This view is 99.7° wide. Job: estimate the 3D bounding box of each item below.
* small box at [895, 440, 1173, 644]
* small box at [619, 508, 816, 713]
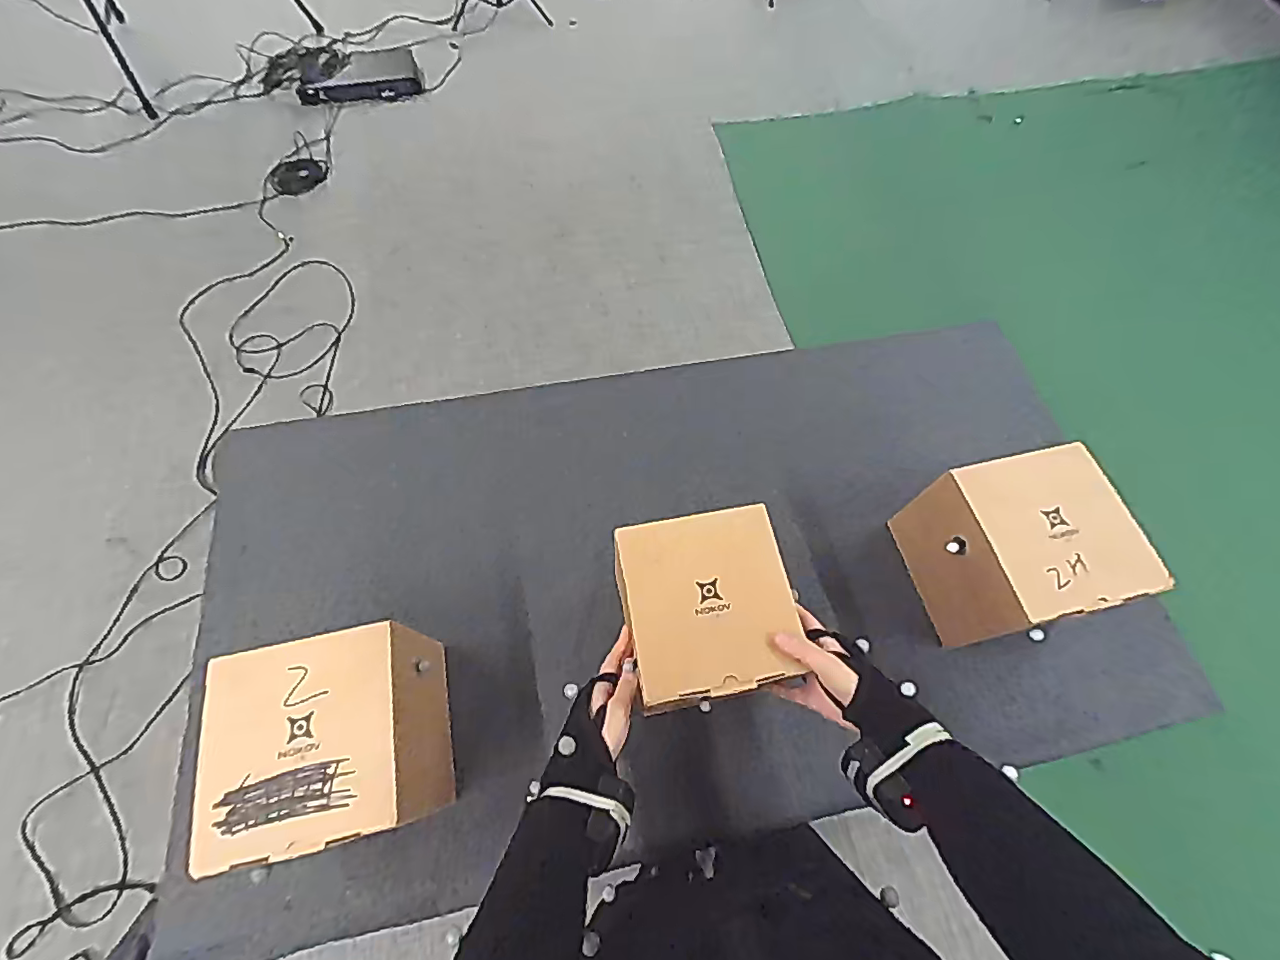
[{"bbox_3d":[0.439,0.080,0.643,0.168,0.176,0.179,-13,66,-5],"label":"small box"},{"bbox_3d":[0.071,0.153,0.613,0.168,0.176,0.179,-11,66,-5],"label":"small box"}]
